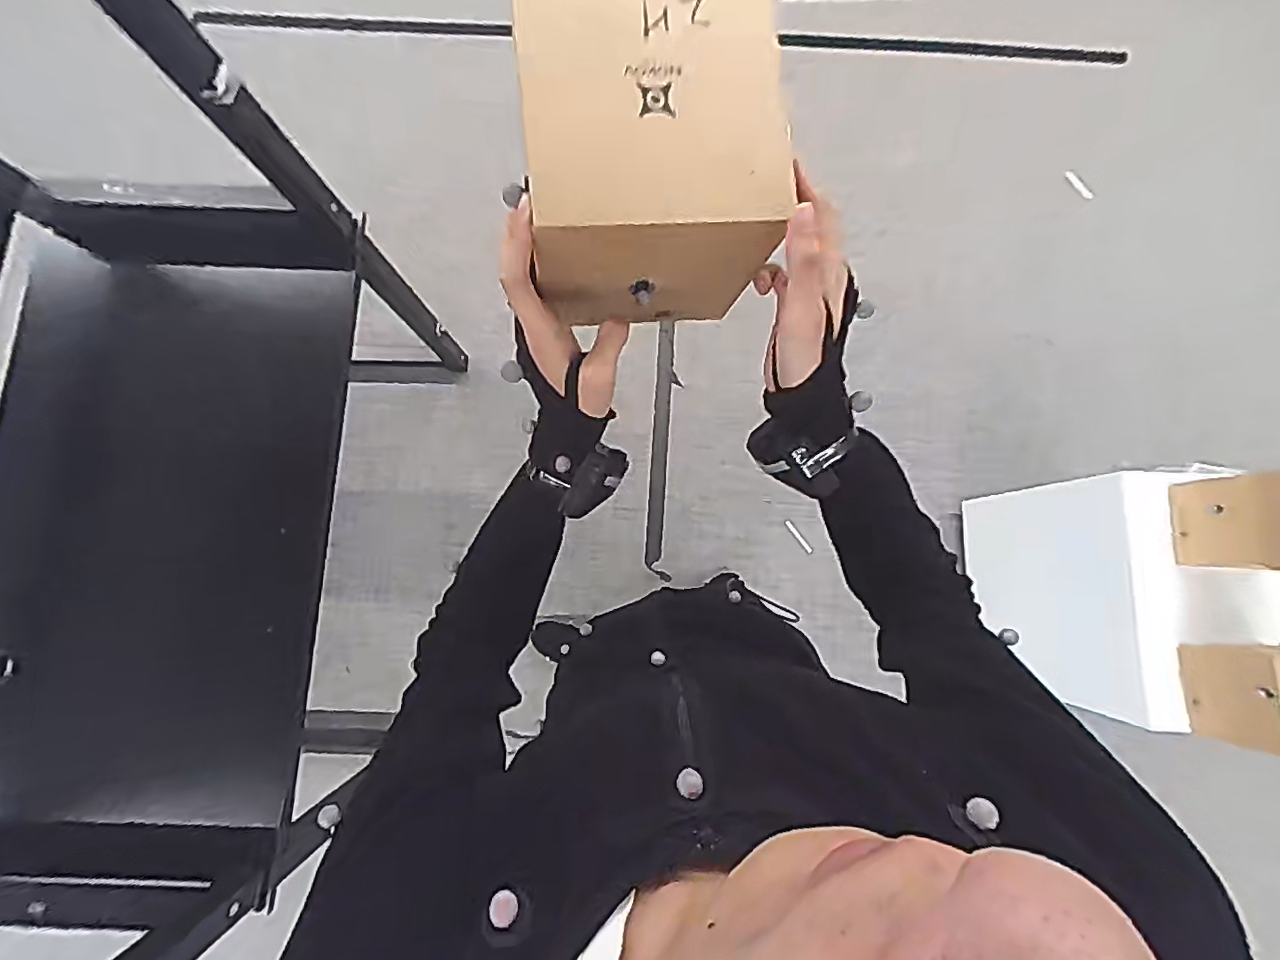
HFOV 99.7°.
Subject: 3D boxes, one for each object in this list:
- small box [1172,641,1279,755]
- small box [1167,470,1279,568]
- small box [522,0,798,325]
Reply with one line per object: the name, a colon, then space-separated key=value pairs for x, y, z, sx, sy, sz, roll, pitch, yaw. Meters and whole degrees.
small box: x=1.130 y=0.383 z=0.972 sx=0.179 sy=0.176 sz=0.168 roll=0 pitch=80 yaw=-1
small box: x=1.152 y=0.079 z=1.021 sx=0.179 sy=0.176 sz=0.168 roll=3 pitch=82 yaw=-1
small box: x=0.003 y=-0.228 z=0.417 sx=0.168 sy=0.176 sz=0.179 roll=-5 pitch=85 yaw=-9
